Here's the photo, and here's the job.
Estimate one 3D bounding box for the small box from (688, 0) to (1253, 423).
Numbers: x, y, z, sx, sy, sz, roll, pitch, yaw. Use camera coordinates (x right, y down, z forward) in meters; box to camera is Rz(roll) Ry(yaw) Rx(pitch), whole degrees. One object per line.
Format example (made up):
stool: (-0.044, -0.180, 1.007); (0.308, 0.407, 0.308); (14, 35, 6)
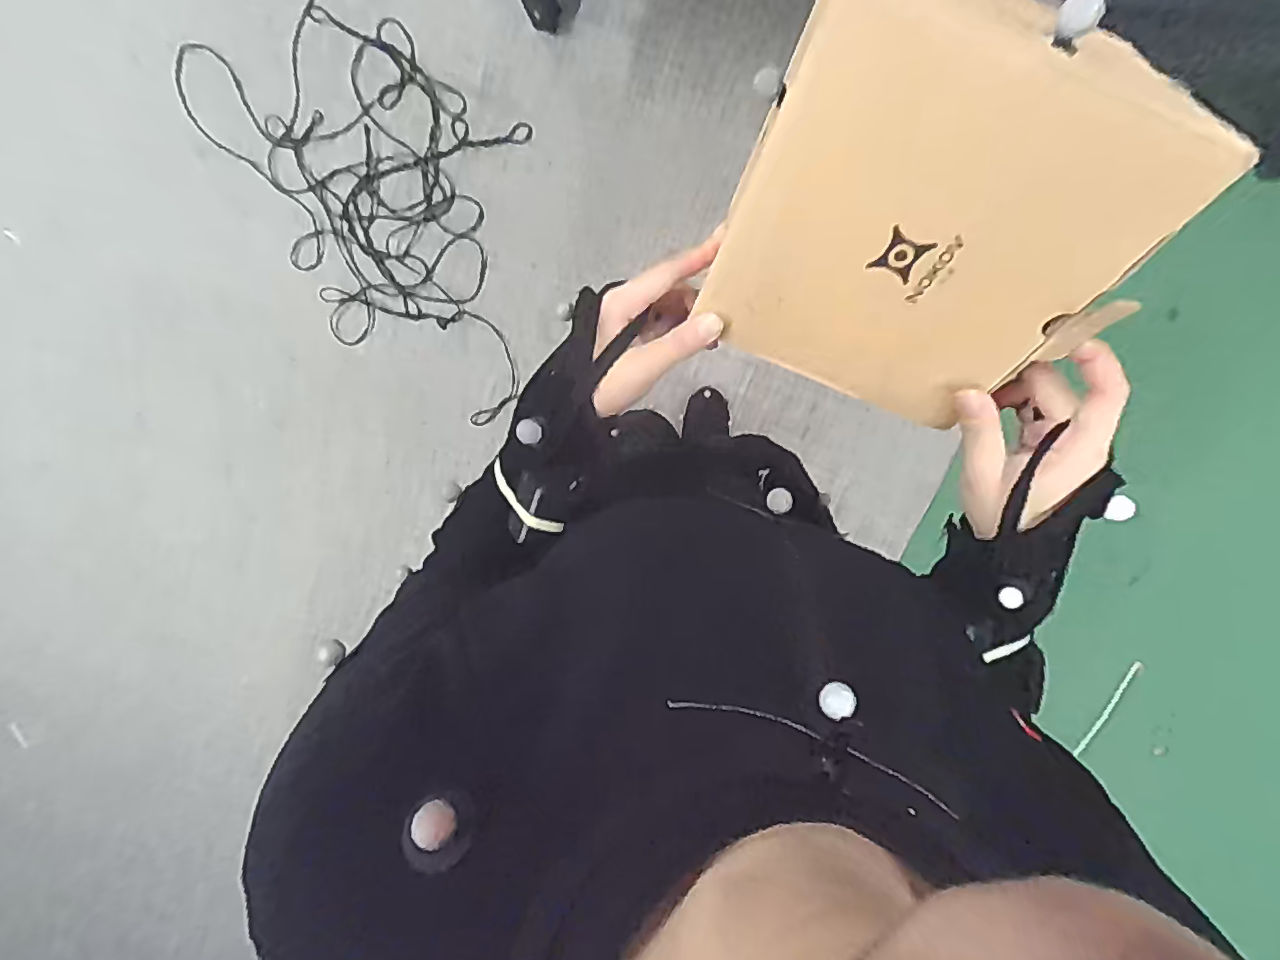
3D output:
small box: (0.148, -0.169, 0.309); (0.179, 0.176, 0.168); (21, 140, -4)
